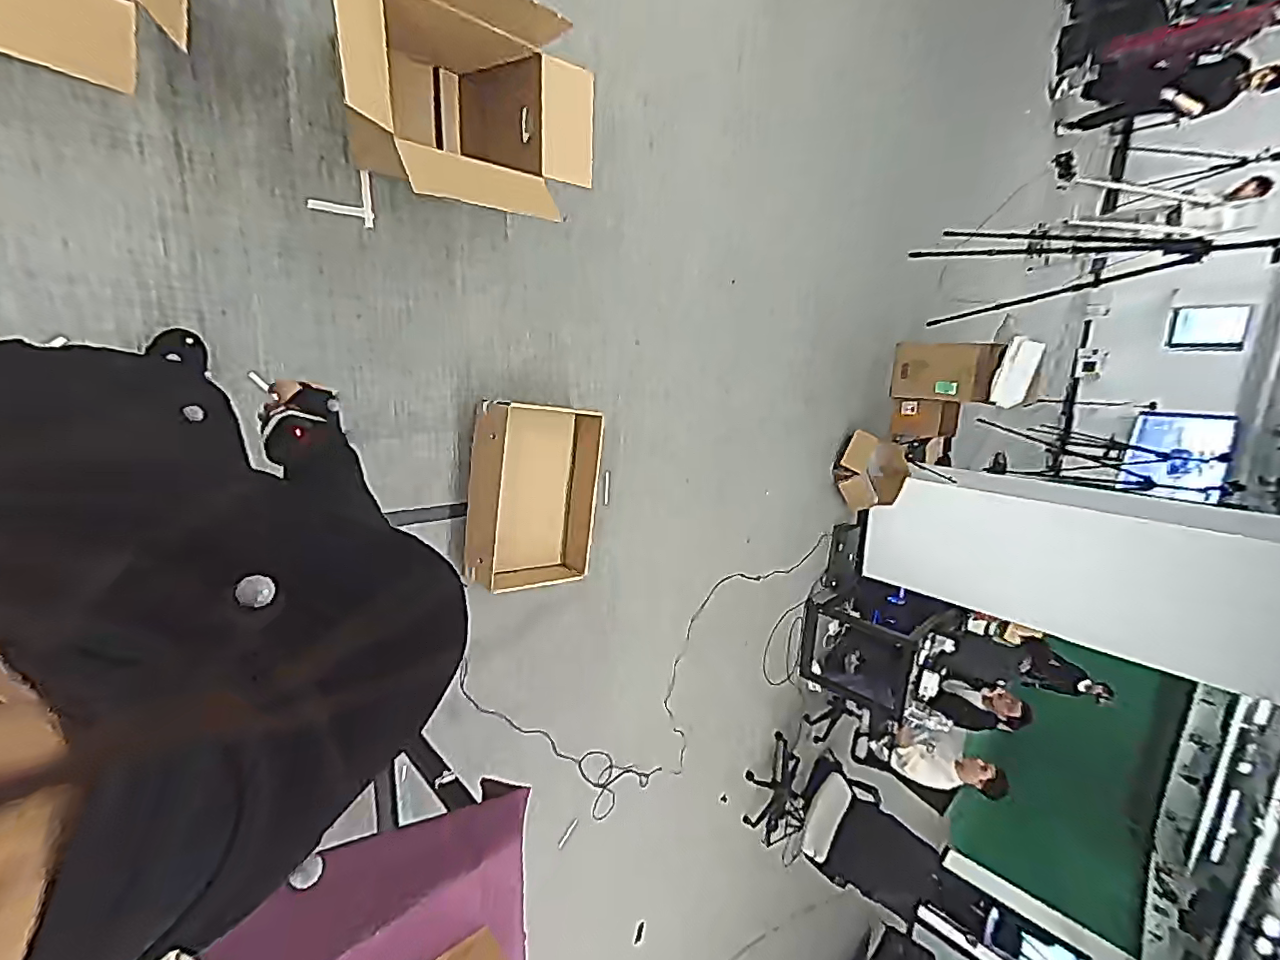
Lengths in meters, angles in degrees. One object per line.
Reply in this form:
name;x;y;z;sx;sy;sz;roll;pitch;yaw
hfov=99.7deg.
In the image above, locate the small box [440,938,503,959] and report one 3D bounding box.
small box;-0.366;1.119;1.129;0.168;0.176;0.179;-3;103;-44
